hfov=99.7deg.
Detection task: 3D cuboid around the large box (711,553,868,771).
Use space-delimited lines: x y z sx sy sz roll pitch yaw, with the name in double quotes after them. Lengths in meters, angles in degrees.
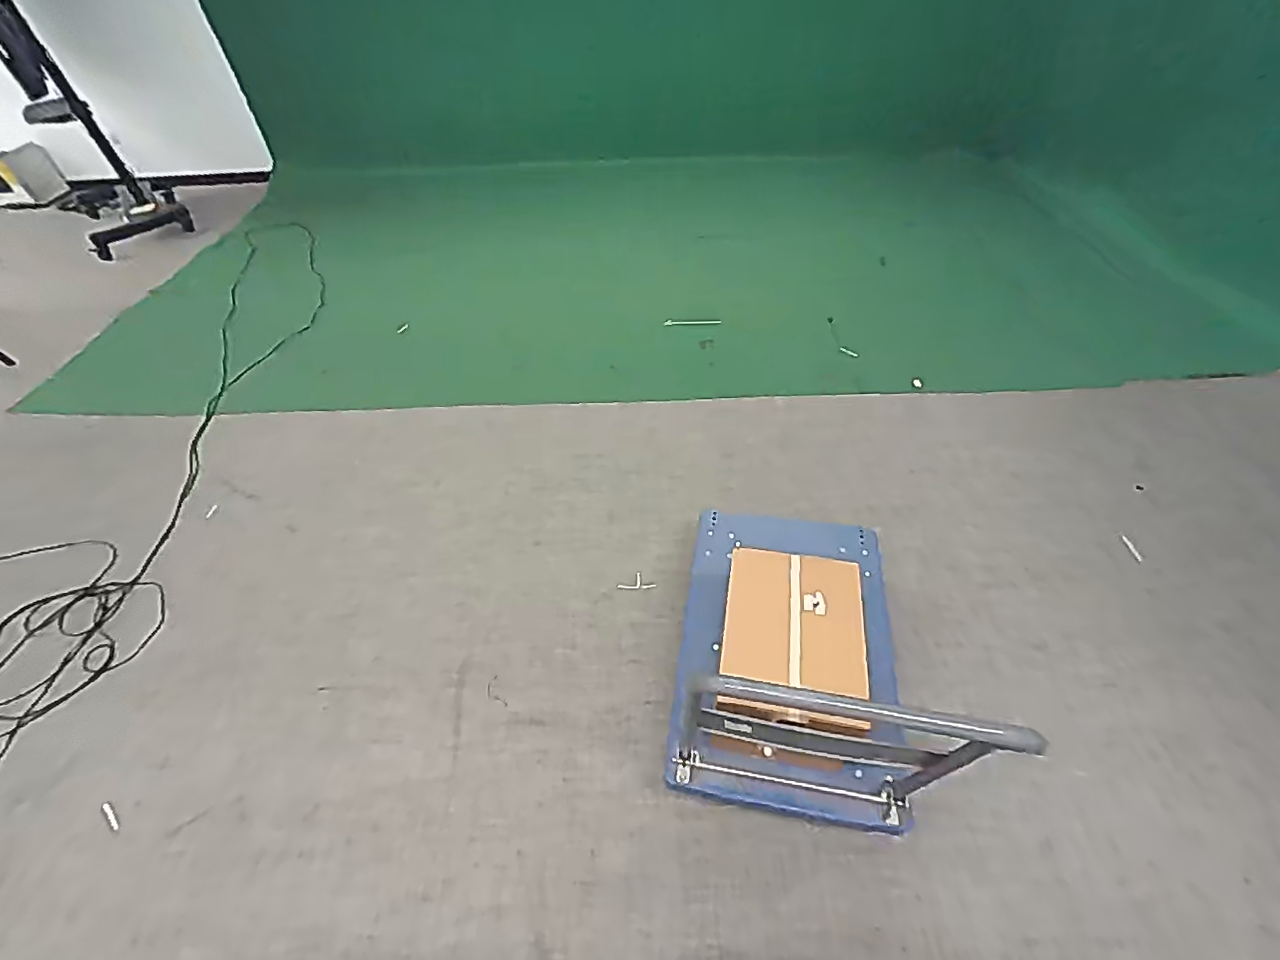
0.350 0.449 1.351 0.320 0.320 0.408 7 47 8 "large box"
